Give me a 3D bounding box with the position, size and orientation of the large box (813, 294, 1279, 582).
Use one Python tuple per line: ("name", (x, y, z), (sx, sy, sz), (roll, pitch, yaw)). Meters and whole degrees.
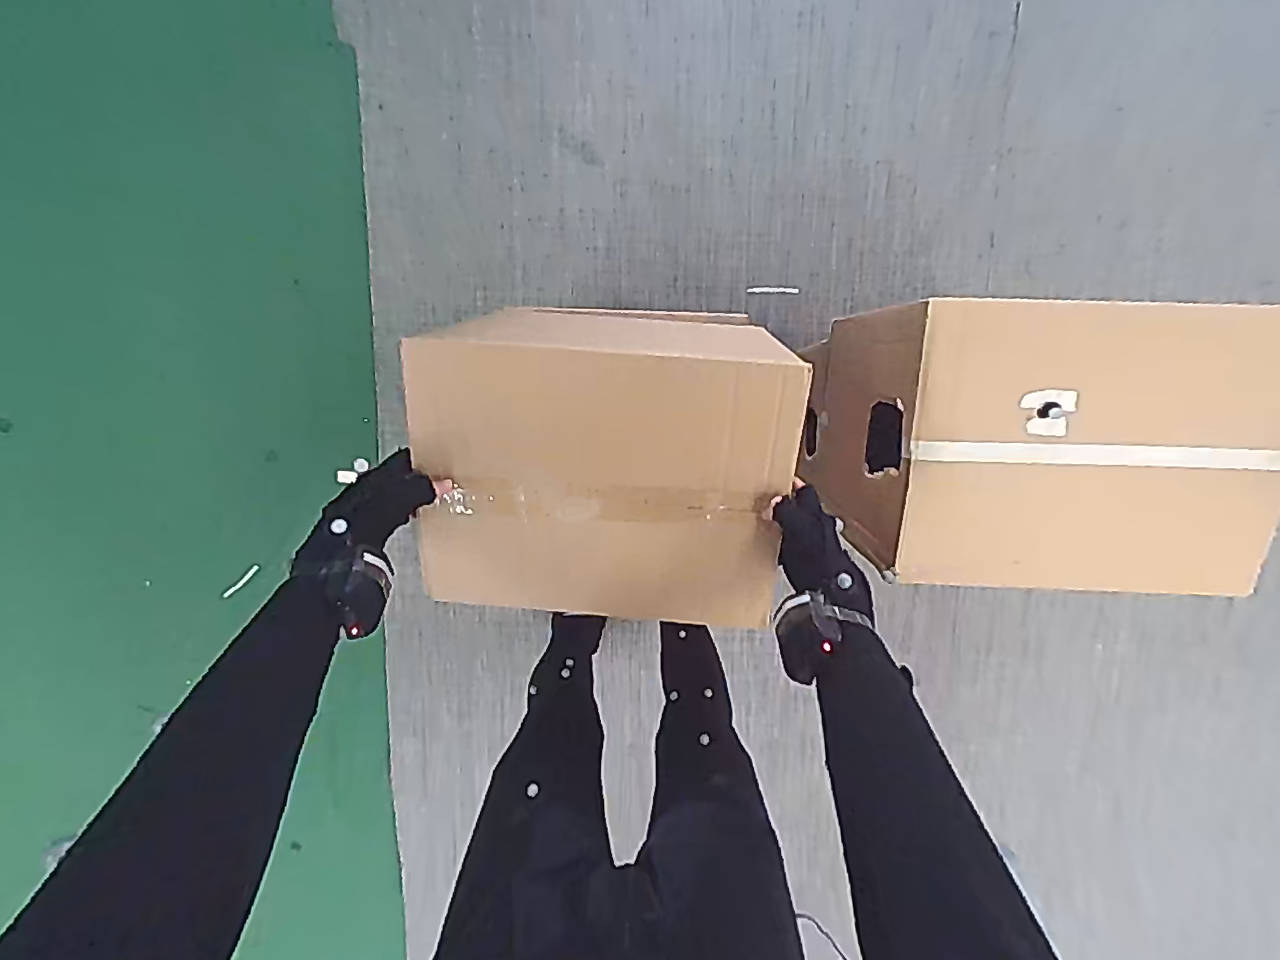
("large box", (0.483, -0.071, 0.727), (0.408, 0.320, 0.320), (2, 102, 3))
